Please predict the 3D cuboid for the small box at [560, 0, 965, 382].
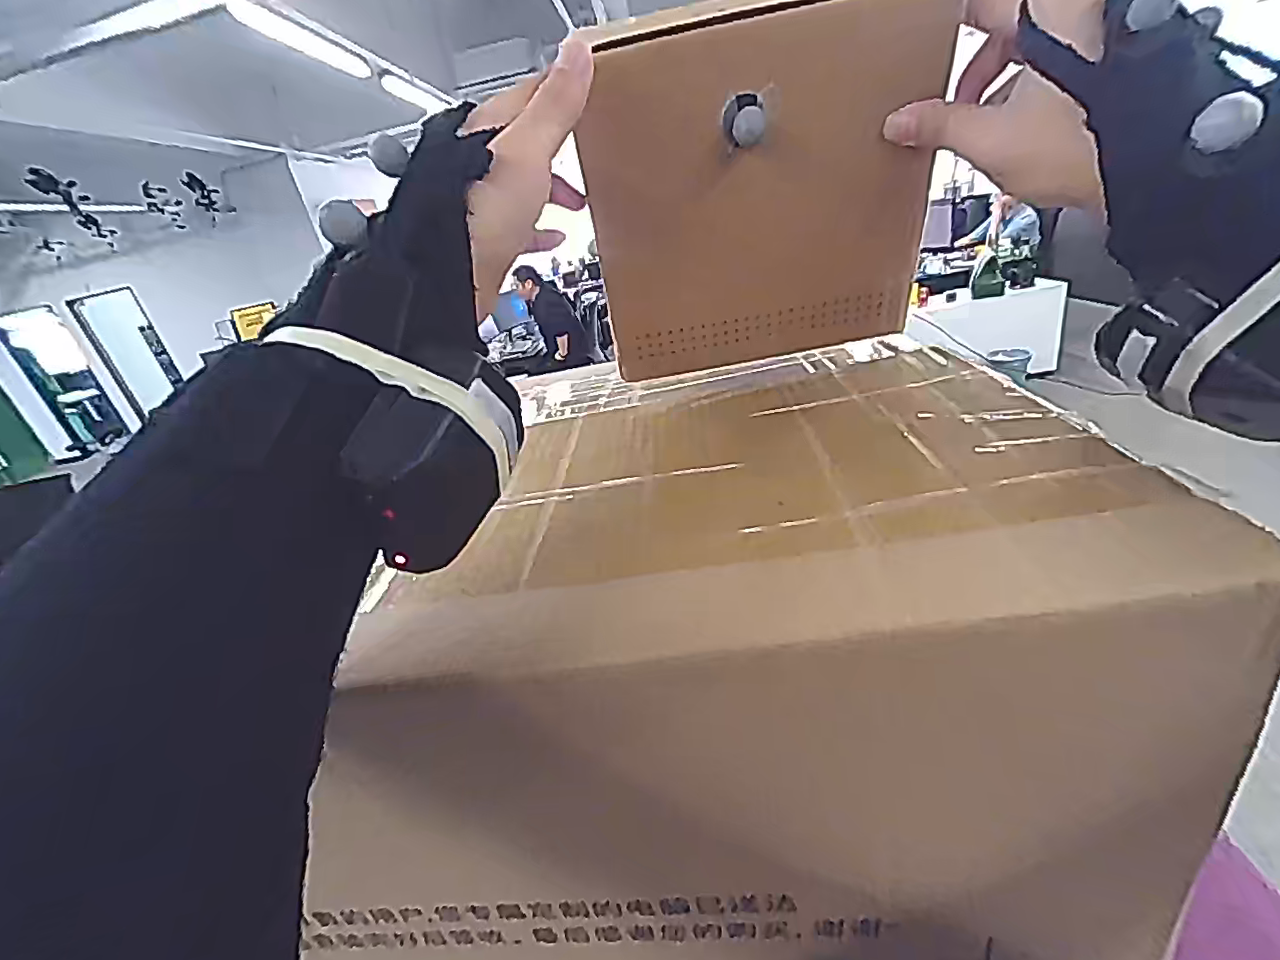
[{"bbox_3d":[0.058,-0.183,0.339,0.179,0.176,0.168,-10,41,3],"label":"small box"}]
